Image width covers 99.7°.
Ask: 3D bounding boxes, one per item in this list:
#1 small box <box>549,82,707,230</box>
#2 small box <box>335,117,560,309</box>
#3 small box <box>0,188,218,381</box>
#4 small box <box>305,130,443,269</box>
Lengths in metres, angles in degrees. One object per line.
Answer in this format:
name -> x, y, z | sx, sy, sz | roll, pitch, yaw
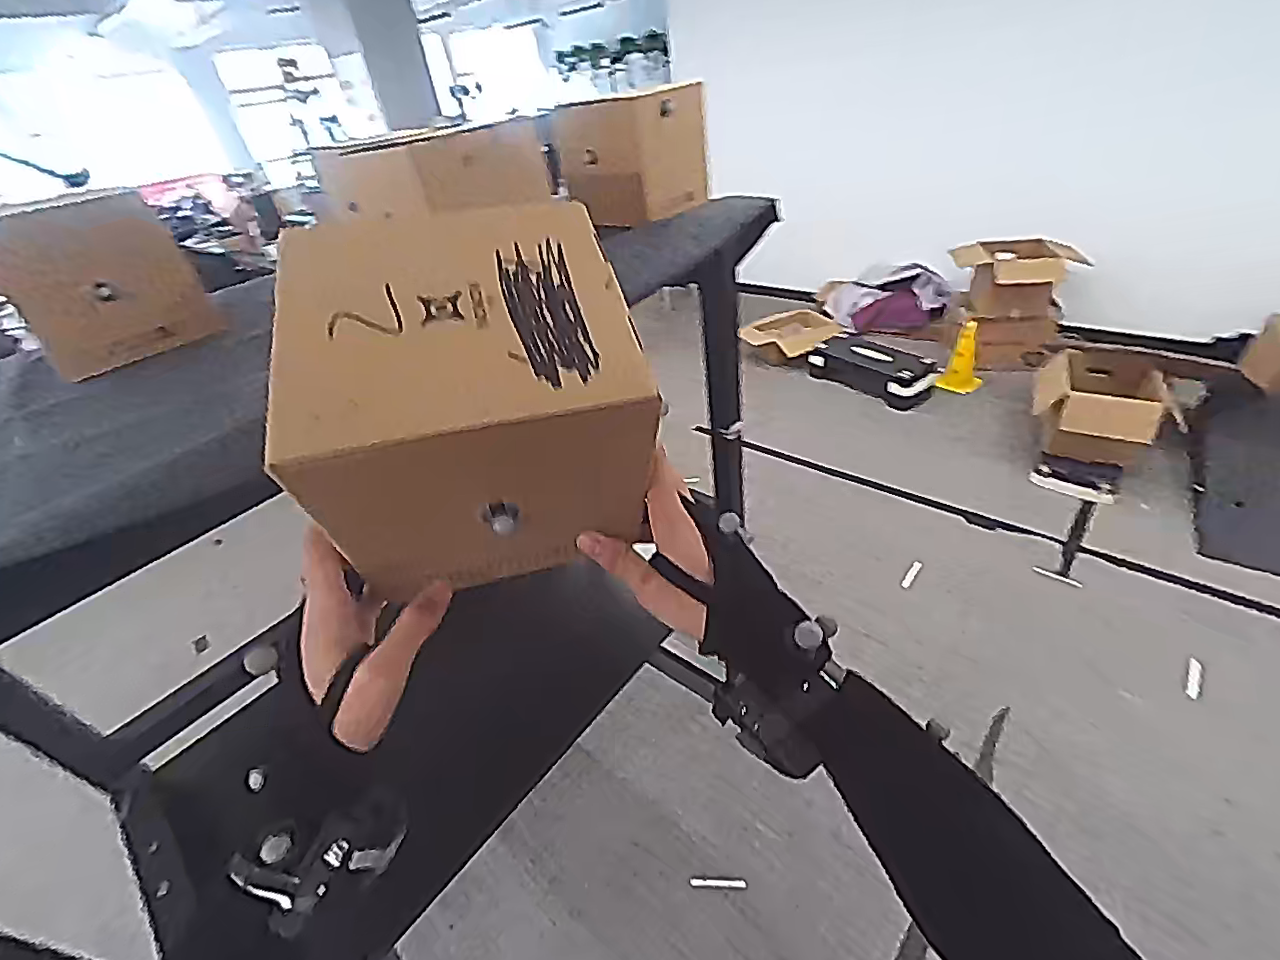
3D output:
small box -> -0.012, -0.506, 0.855 | 0.179, 0.176, 0.168 | 22, 48, 36
small box -> -0.223, -0.322, 0.663 | 0.179, 0.176, 0.168 | 21, 47, 37
small box -> -0.658, -0.235, 0.648 | 0.179, 0.176, 0.168 | 22, 47, 34
small box -> -0.401, -0.457, 0.883 | 0.168, 0.176, 0.179 | -34, 43, -30
